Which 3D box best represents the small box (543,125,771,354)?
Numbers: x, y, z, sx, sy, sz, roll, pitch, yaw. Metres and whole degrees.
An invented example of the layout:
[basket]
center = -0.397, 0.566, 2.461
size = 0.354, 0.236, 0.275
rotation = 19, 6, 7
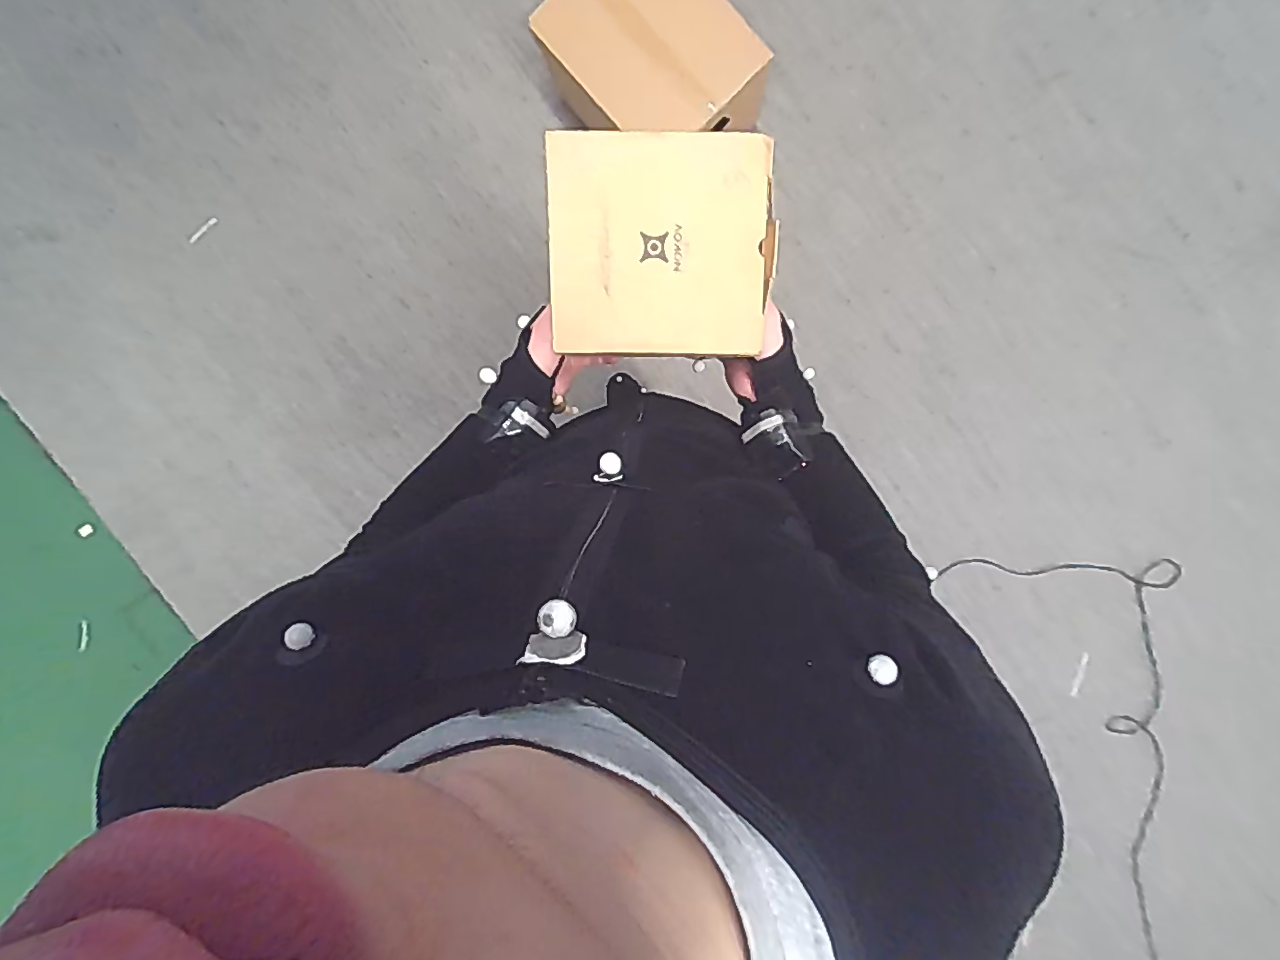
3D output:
[small box]
center = 0.012, -0.205, 0.503
size = 0.179, 0.176, 0.168
rotation = 0, 102, 0
